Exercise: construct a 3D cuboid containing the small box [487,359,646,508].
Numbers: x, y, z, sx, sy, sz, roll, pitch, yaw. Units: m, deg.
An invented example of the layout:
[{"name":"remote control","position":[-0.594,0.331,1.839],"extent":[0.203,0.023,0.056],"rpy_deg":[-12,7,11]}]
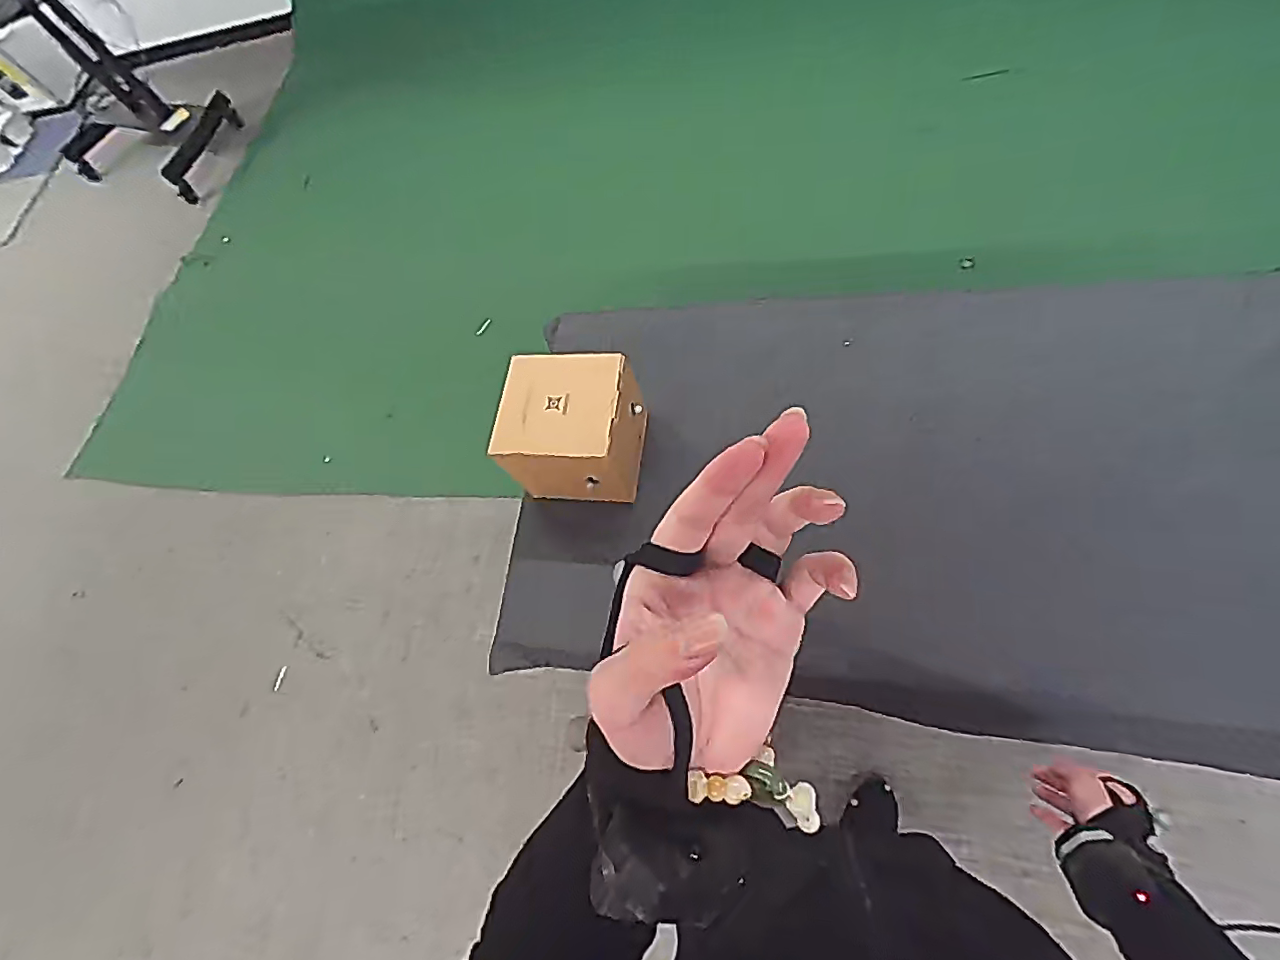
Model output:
[{"name":"small box","position":[-0.096,-0.064,0.817],"extent":[0.179,0.176,0.168],"rpy_deg":[4,66,15]}]
